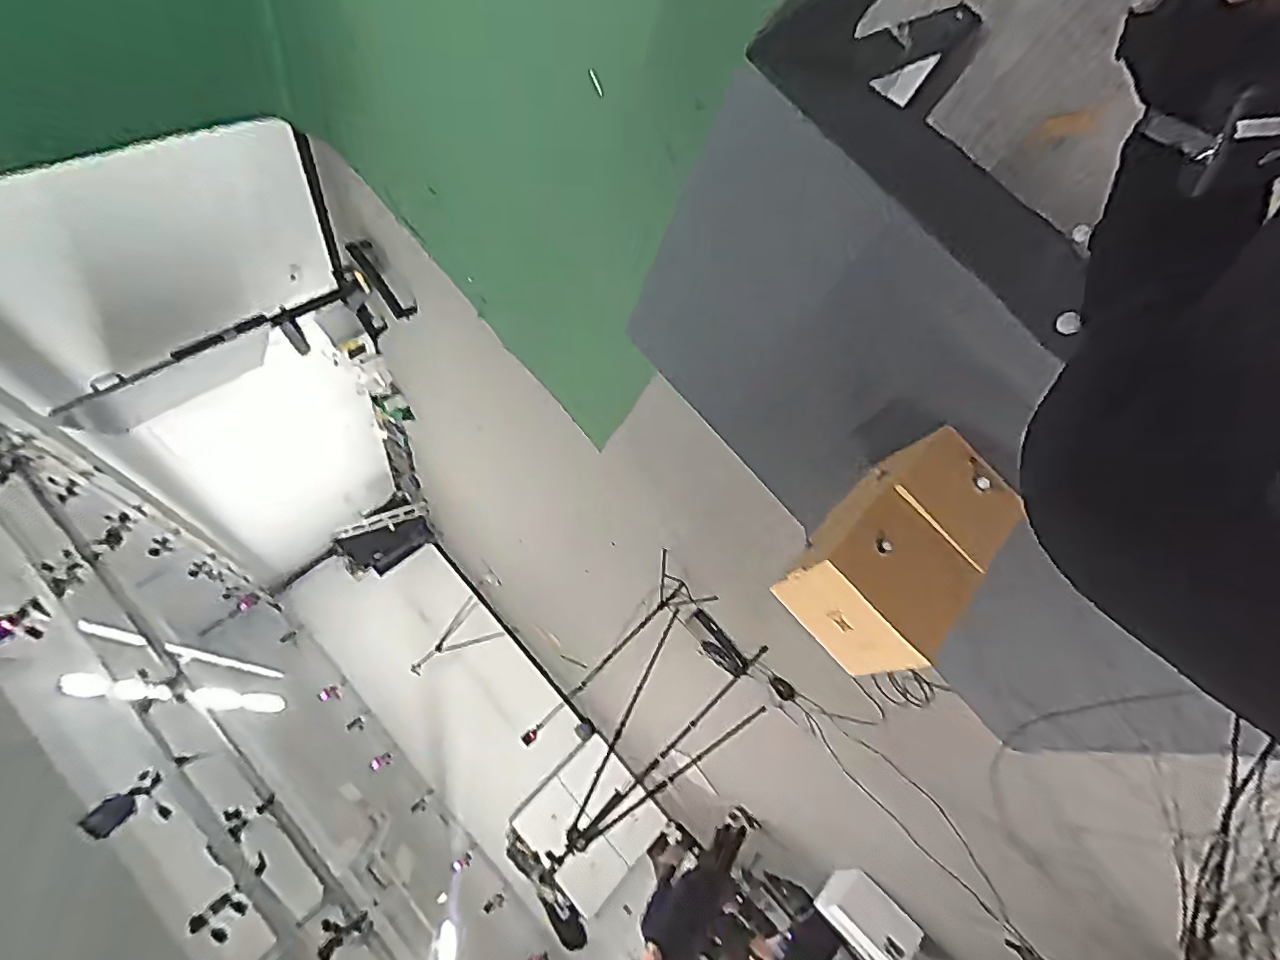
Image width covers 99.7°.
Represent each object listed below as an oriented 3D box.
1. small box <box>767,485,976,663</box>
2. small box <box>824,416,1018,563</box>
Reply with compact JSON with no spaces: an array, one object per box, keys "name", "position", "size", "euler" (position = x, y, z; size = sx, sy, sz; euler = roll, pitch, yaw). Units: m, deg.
[{"name":"small box","position":[0.324,0.129,0.768],"size":[0.179,0.176,0.168],"euler":[47,153,7]},{"name":"small box","position":[0.434,0.034,0.842],"size":[0.168,0.176,0.179],"euler":[48,151,5]}]
